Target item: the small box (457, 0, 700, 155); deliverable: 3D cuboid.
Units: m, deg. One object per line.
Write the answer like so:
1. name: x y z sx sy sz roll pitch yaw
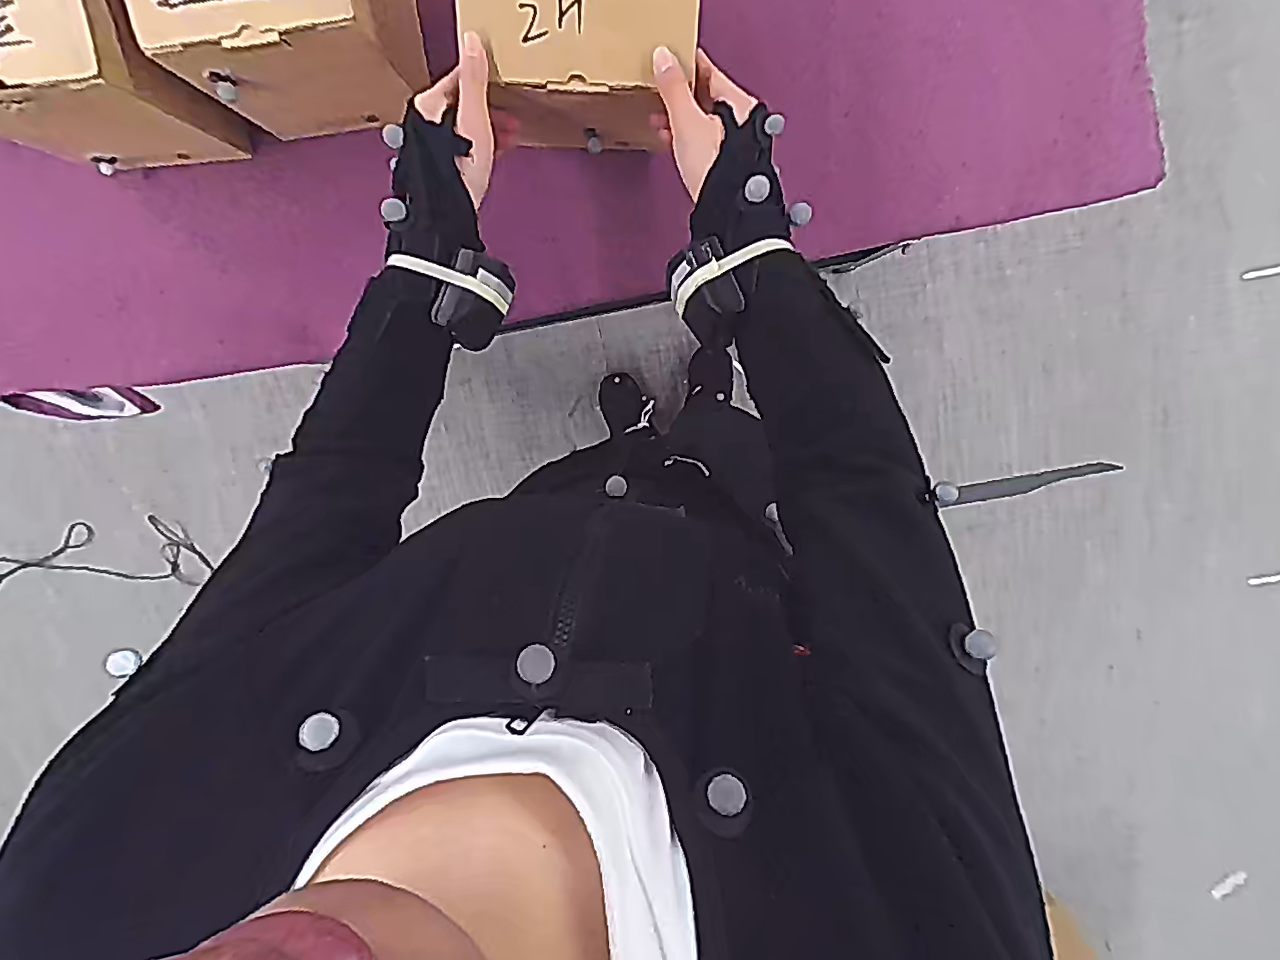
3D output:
1. small box: -0.038 -0.381 0.427 0.168 0.176 0.179 3 109 1
